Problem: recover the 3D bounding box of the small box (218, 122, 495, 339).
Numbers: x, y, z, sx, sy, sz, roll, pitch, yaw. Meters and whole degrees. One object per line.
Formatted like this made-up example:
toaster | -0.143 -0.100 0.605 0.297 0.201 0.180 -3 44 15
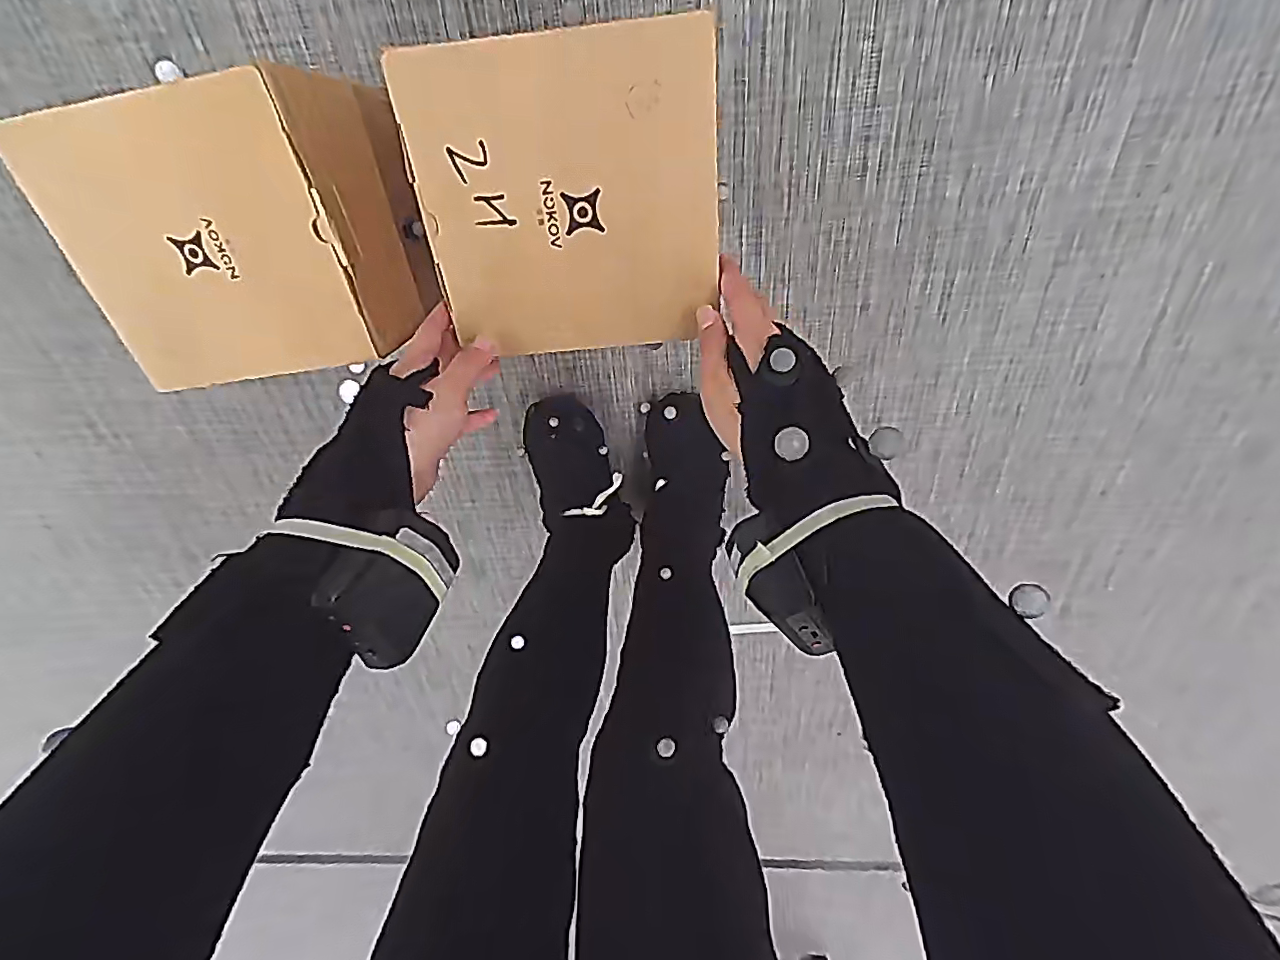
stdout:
small box | -0.259 -0.255 0.549 0.168 0.176 0.179 -1 121 3
